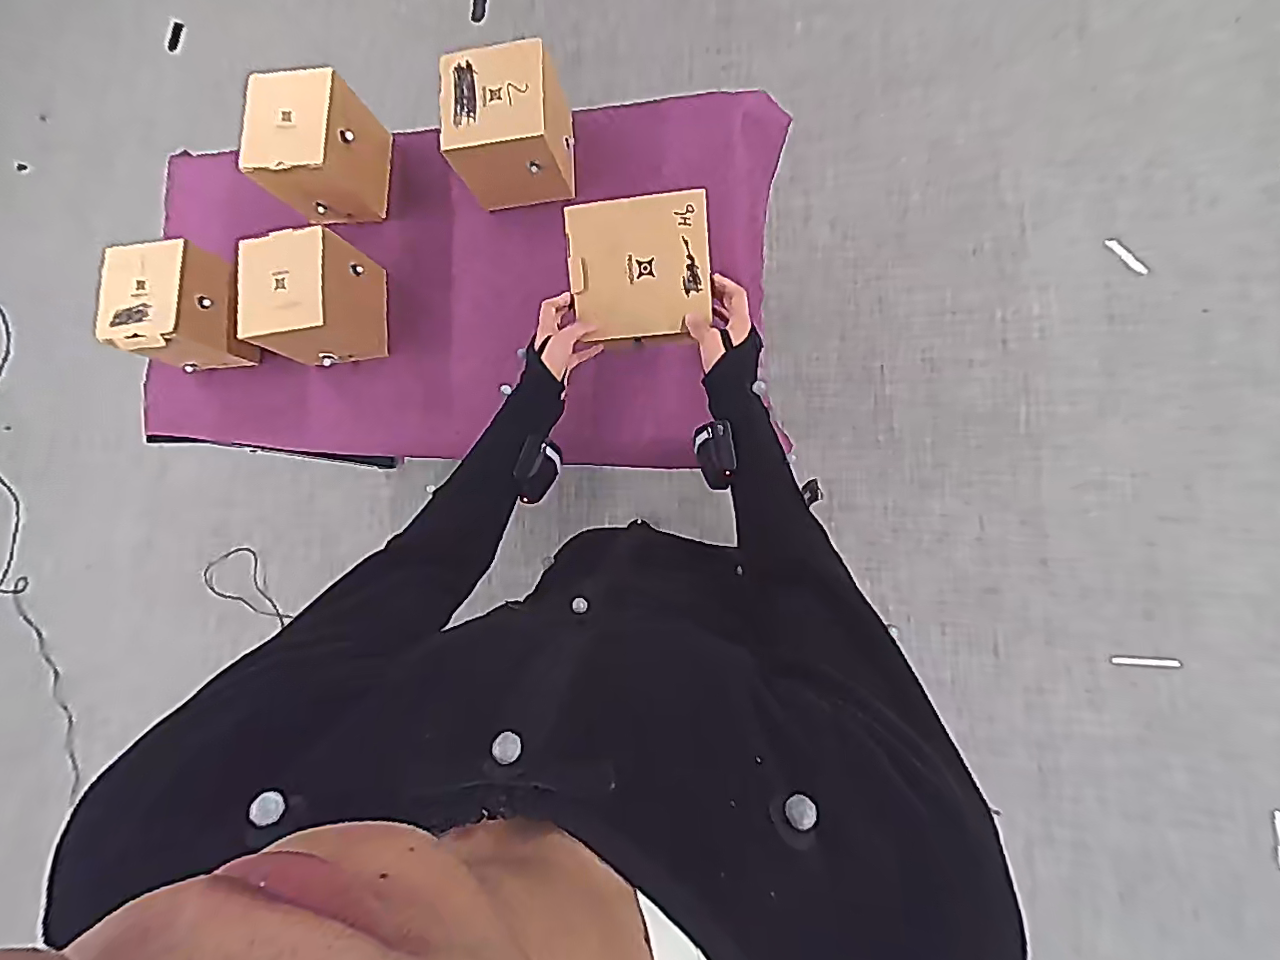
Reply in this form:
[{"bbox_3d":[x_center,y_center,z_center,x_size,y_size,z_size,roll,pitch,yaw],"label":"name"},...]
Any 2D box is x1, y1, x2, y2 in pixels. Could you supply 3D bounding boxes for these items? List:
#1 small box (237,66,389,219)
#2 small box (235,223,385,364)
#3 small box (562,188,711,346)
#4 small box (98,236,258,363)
[{"bbox_3d":[-0.587,-0.607,0.991,0.168,0.176,0.179,3,86,9],"label":"small box"},{"bbox_3d":[-0.582,-0.325,0.972,0.168,0.176,0.179,-5,84,10],"label":"small box"},{"bbox_3d":[0.005,-0.277,0.742,0.179,0.176,0.168,-3,101,8],"label":"small box"},{"bbox_3d":[-0.853,-0.326,1.016,0.168,0.176,0.179,-2,84,9],"label":"small box"}]
